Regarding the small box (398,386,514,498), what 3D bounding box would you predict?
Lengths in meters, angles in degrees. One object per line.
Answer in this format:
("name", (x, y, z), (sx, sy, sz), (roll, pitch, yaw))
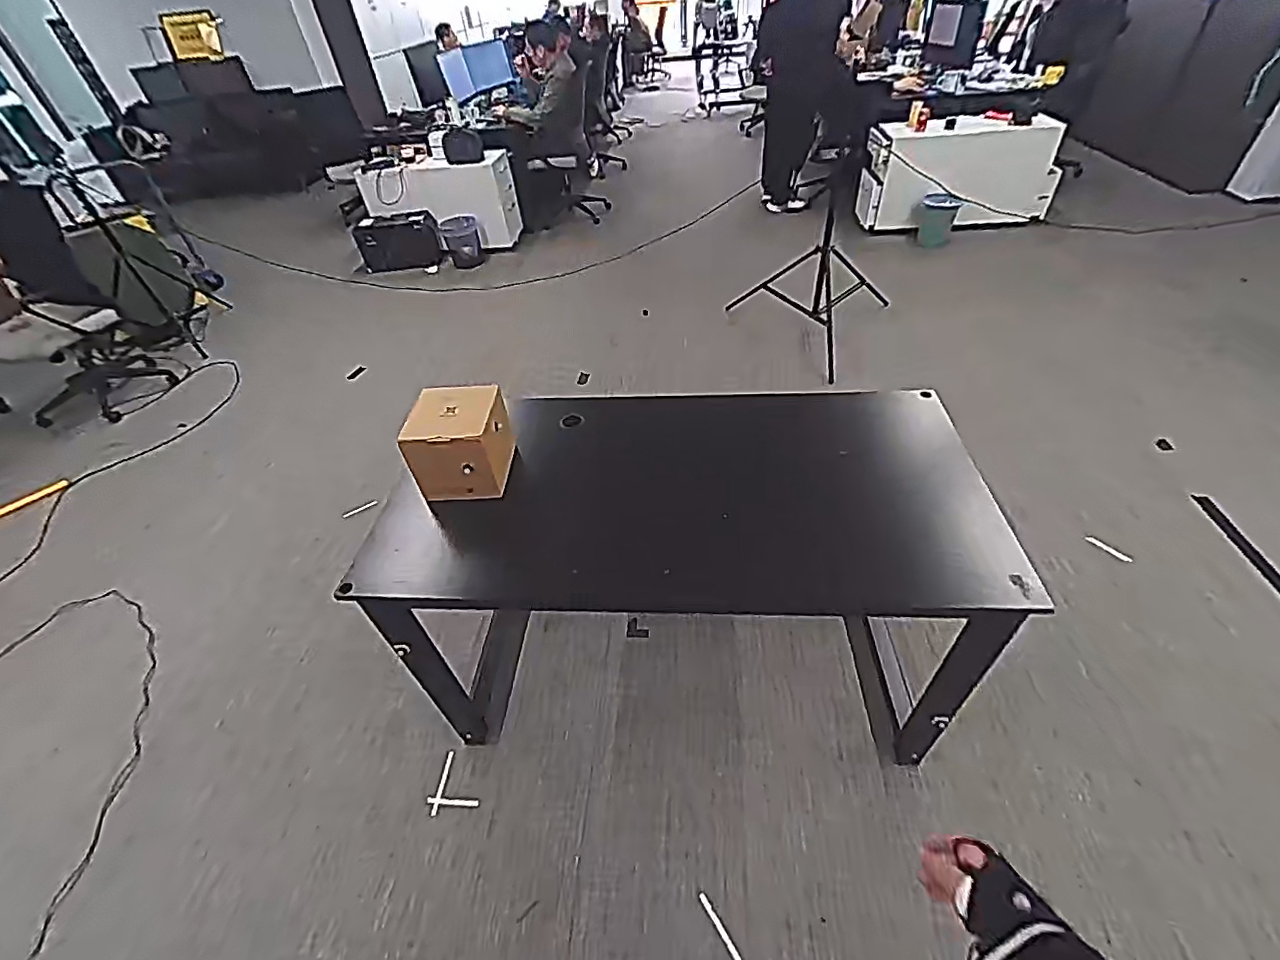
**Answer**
("small box", (-0.369, -0.074, 1.125), (0.168, 0.176, 0.179), (-2, 43, 2))
